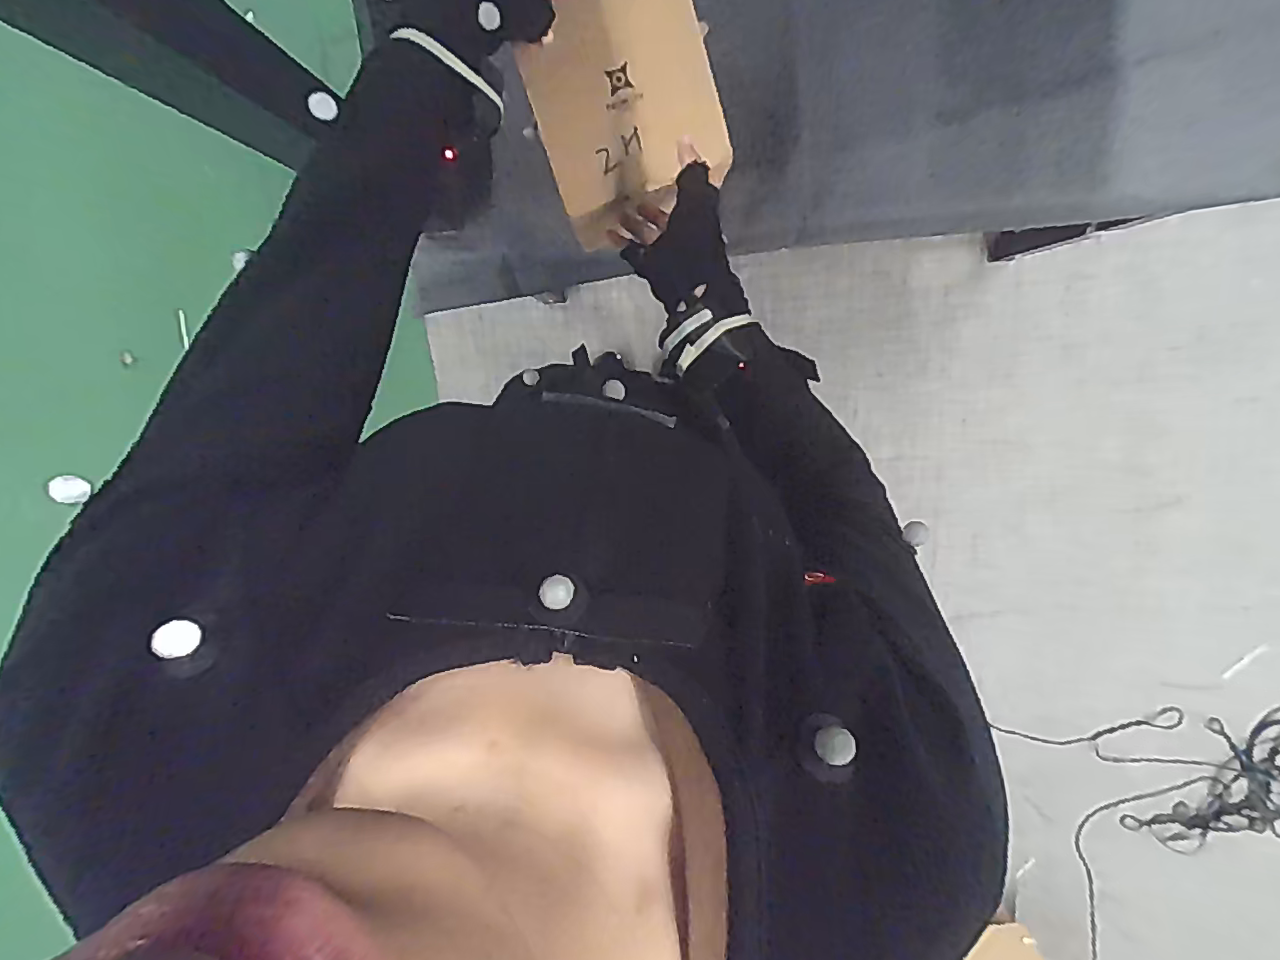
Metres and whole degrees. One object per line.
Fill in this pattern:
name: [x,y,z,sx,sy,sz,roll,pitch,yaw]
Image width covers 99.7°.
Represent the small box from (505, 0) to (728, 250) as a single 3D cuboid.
small box: [-0.020,-0.370,0.571,0.168,0.176,0.179,-18,102,4]
